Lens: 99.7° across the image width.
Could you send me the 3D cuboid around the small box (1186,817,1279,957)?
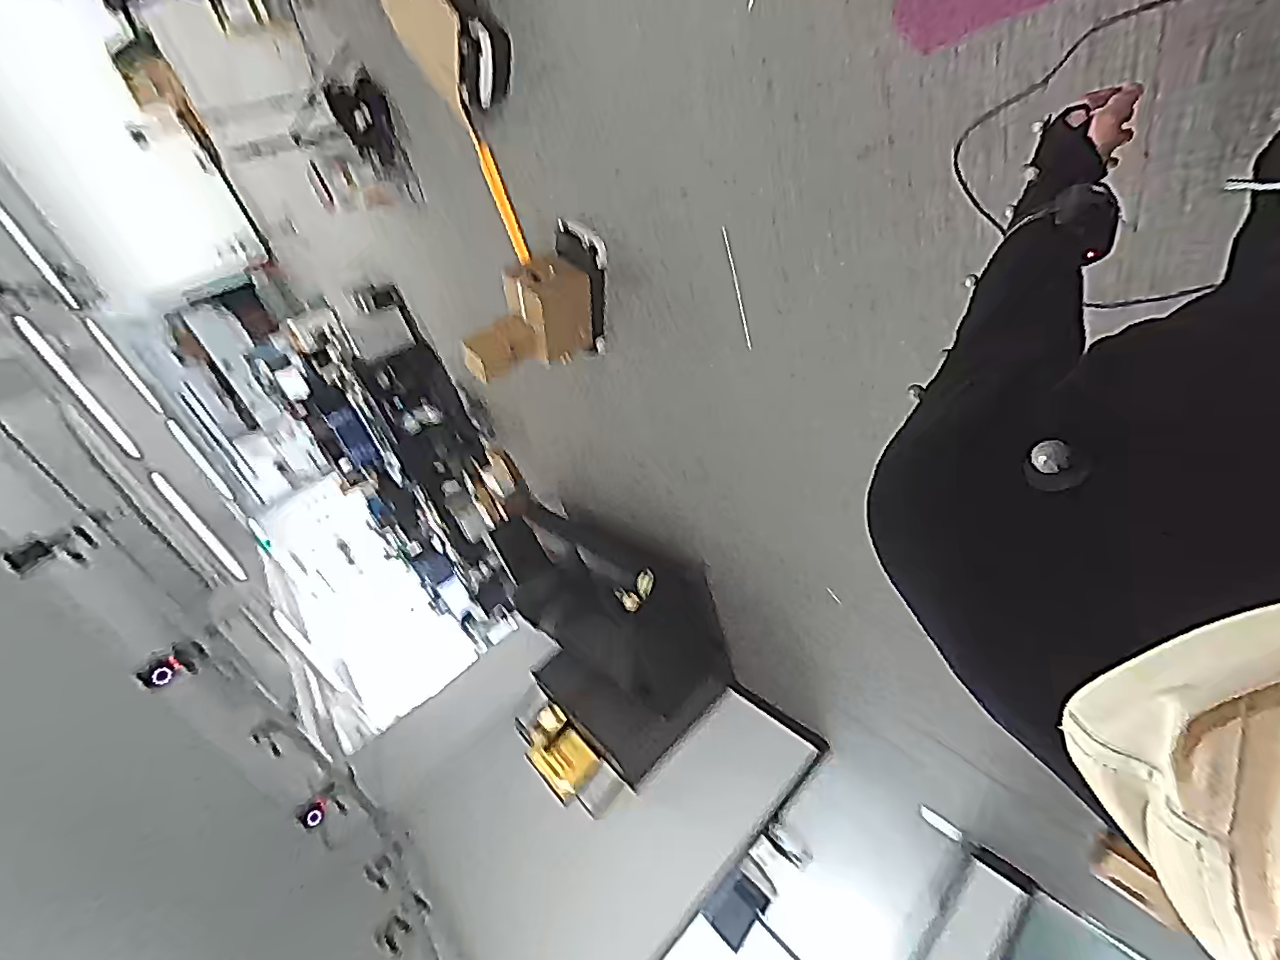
[{"bbox_3d":[1.424,0.932,1.251,0.168,0.176,0.179,27,142,46],"label":"small box"}]
